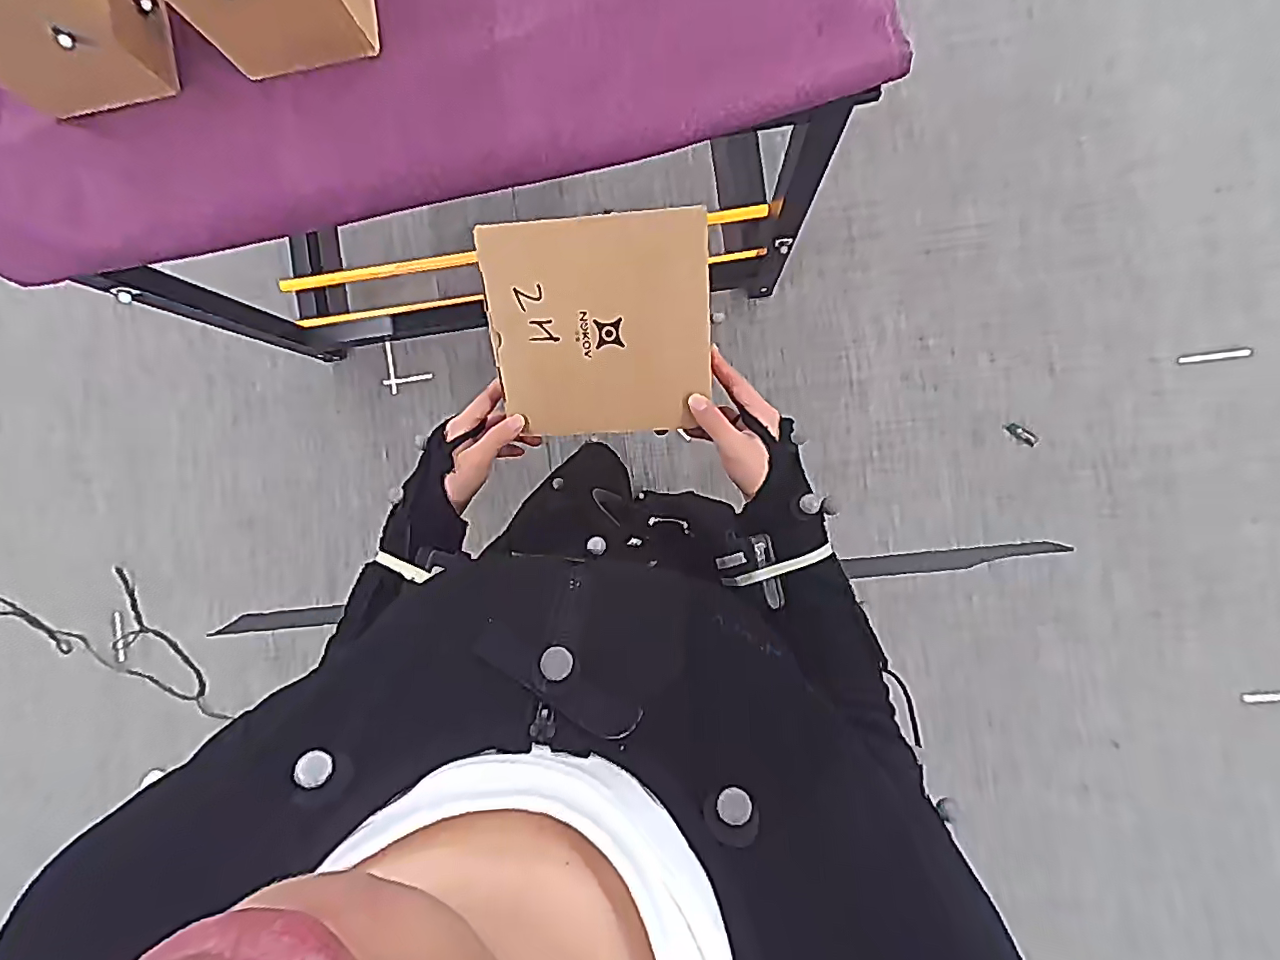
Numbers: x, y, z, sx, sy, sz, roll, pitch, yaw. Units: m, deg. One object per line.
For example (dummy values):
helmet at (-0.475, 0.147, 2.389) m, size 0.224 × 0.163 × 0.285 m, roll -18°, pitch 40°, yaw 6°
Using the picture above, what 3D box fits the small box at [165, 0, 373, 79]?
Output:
small box at (-0.418, -0.591, 0.595) m, size 0.179 × 0.176 × 0.168 m, roll -7°, pitch 89°, yaw 5°

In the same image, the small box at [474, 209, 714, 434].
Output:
small box at (-0.026, -0.148, 0.493) m, size 0.179 × 0.176 × 0.168 m, roll -2°, pitch 113°, yaw 6°
